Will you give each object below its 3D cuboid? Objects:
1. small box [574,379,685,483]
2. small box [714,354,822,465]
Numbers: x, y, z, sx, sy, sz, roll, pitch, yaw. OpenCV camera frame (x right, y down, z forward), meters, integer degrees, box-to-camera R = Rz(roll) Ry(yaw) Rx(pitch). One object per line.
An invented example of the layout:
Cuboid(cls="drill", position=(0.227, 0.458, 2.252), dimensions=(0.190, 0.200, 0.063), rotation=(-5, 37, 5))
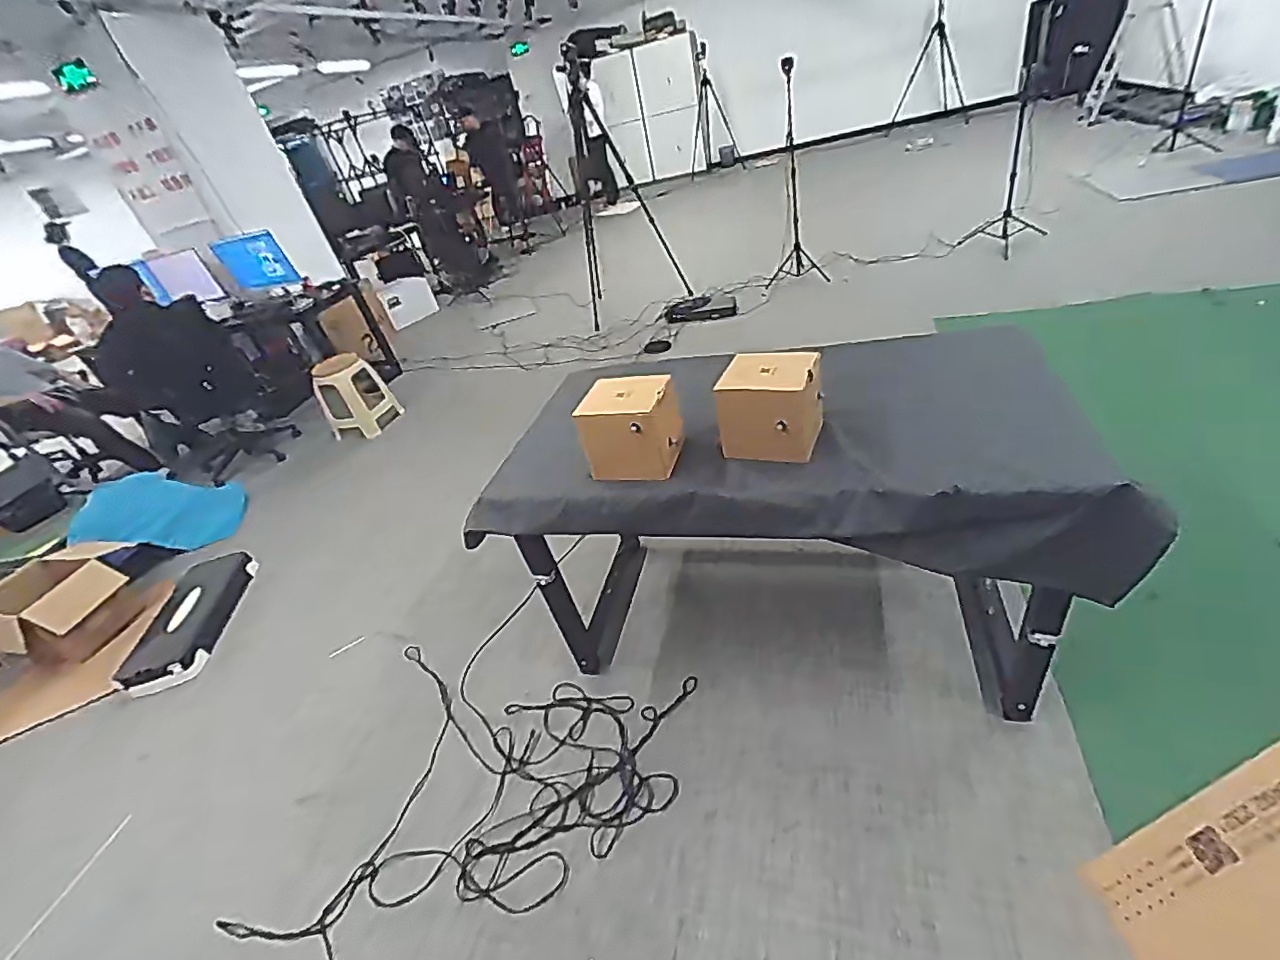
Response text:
Cuboid(cls="small box", position=(-0.015, -0.104, 1.178), dimensions=(0.179, 0.176, 0.168), rotation=(0, 36, 21))
Cuboid(cls="small box", position=(0.273, -0.145, 1.118), dimensions=(0.179, 0.176, 0.168), rotation=(4, 38, 29))
